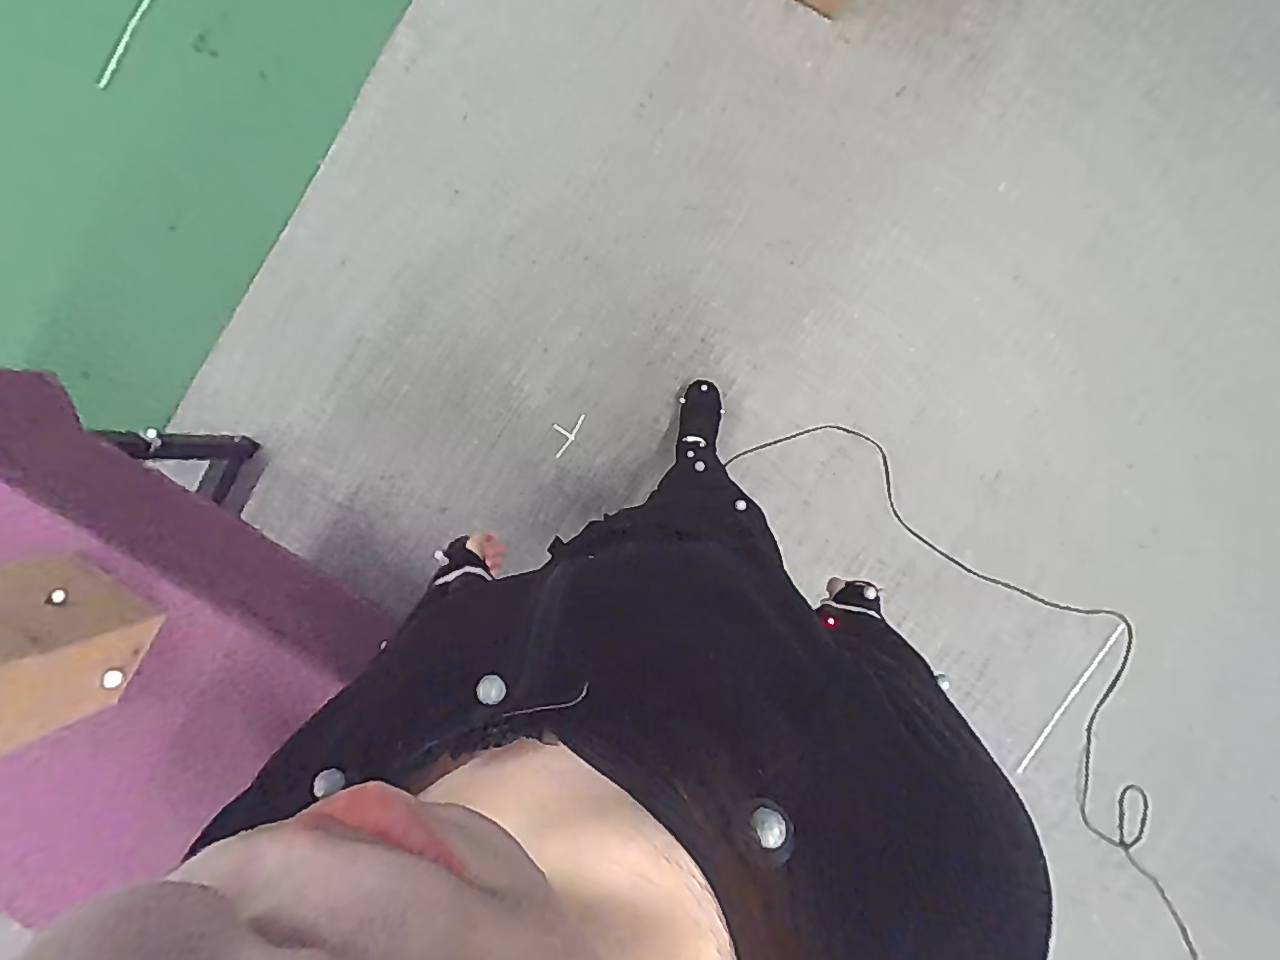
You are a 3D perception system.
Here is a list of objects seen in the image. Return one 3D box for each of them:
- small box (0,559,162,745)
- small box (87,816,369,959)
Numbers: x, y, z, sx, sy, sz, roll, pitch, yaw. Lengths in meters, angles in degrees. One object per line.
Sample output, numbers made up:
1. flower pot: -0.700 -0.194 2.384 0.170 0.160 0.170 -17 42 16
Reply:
1. small box: -0.823 0.222 0.730 0.179 0.176 0.168 33 94 0
2. small box: -0.429 0.493 0.556 0.179 0.176 0.168 33 94 0
